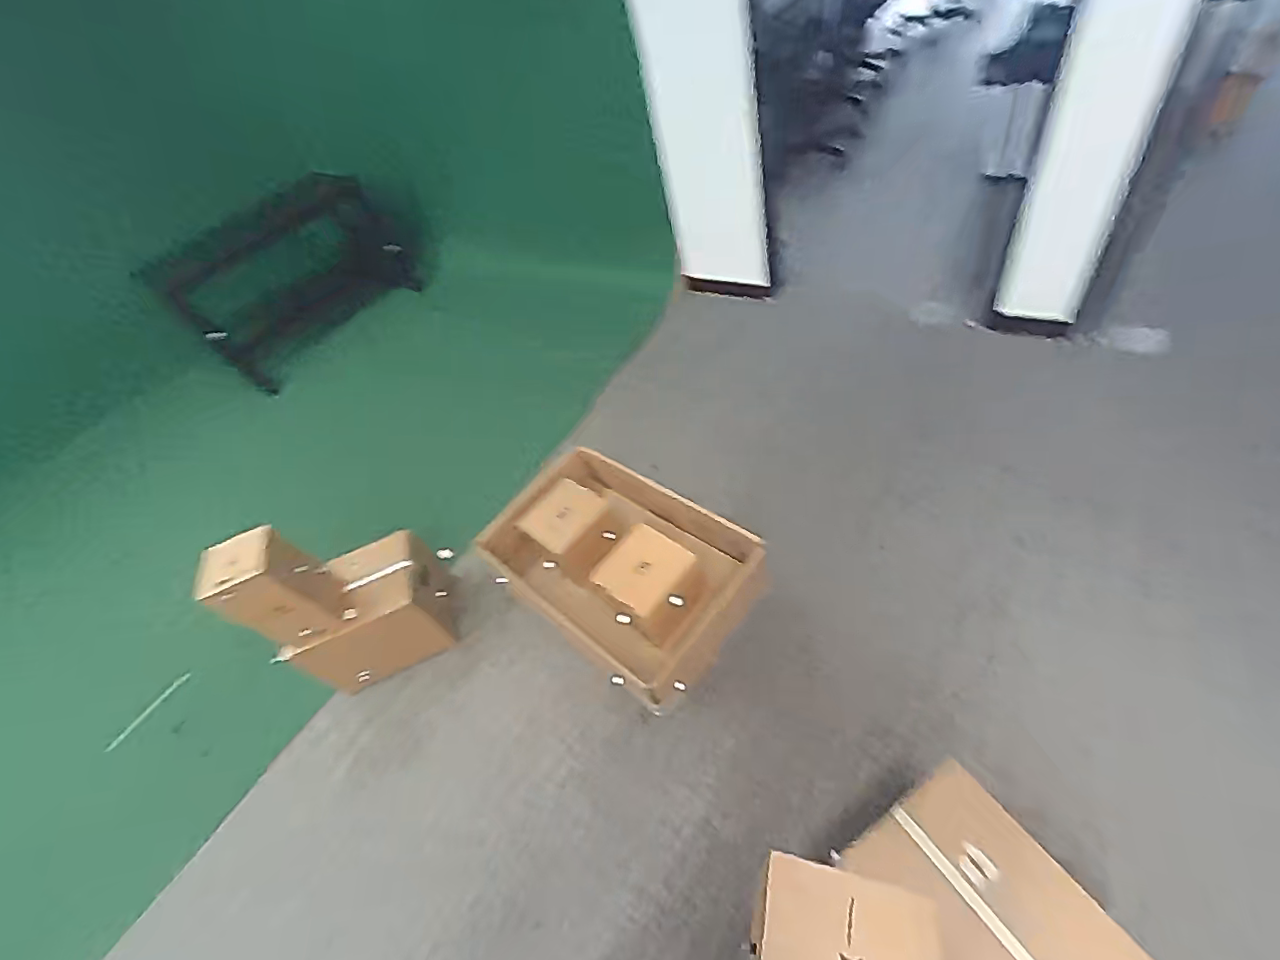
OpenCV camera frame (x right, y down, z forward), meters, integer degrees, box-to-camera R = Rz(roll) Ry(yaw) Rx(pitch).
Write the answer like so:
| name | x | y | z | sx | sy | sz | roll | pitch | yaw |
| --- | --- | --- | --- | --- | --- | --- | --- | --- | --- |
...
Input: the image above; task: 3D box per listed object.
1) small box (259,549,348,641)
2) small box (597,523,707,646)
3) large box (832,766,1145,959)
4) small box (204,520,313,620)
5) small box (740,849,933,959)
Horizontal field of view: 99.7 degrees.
| name | x | y | z | sx | sy | sz | roll | pitch | yaw |
| --- | --- | --- | --- | --- | --- | --- | --- | --- | --- |
| small box | -0.987 | 0.342 | 1.593 | 0.168 | 0.176 | 0.179 | -24 | 49 | -3 |
| small box | 0.036 | 0.237 | 1.220 | 0.168 | 0.176 | 0.179 | 30 | 65 | 35 |
| large box | 0.613 | 0.835 | 0.997 | 0.320 | 0.320 | 0.408 | -32 | 47 | -11 |
| small box | -1.020 | 0.246 | 1.464 | 0.168 | 0.176 | 0.179 | -24 | 48 | -4 |
| small box | 0.191 | 0.520 | 0.556 | 0.168 | 0.176 | 0.179 | 8 | 45 | 12 |
